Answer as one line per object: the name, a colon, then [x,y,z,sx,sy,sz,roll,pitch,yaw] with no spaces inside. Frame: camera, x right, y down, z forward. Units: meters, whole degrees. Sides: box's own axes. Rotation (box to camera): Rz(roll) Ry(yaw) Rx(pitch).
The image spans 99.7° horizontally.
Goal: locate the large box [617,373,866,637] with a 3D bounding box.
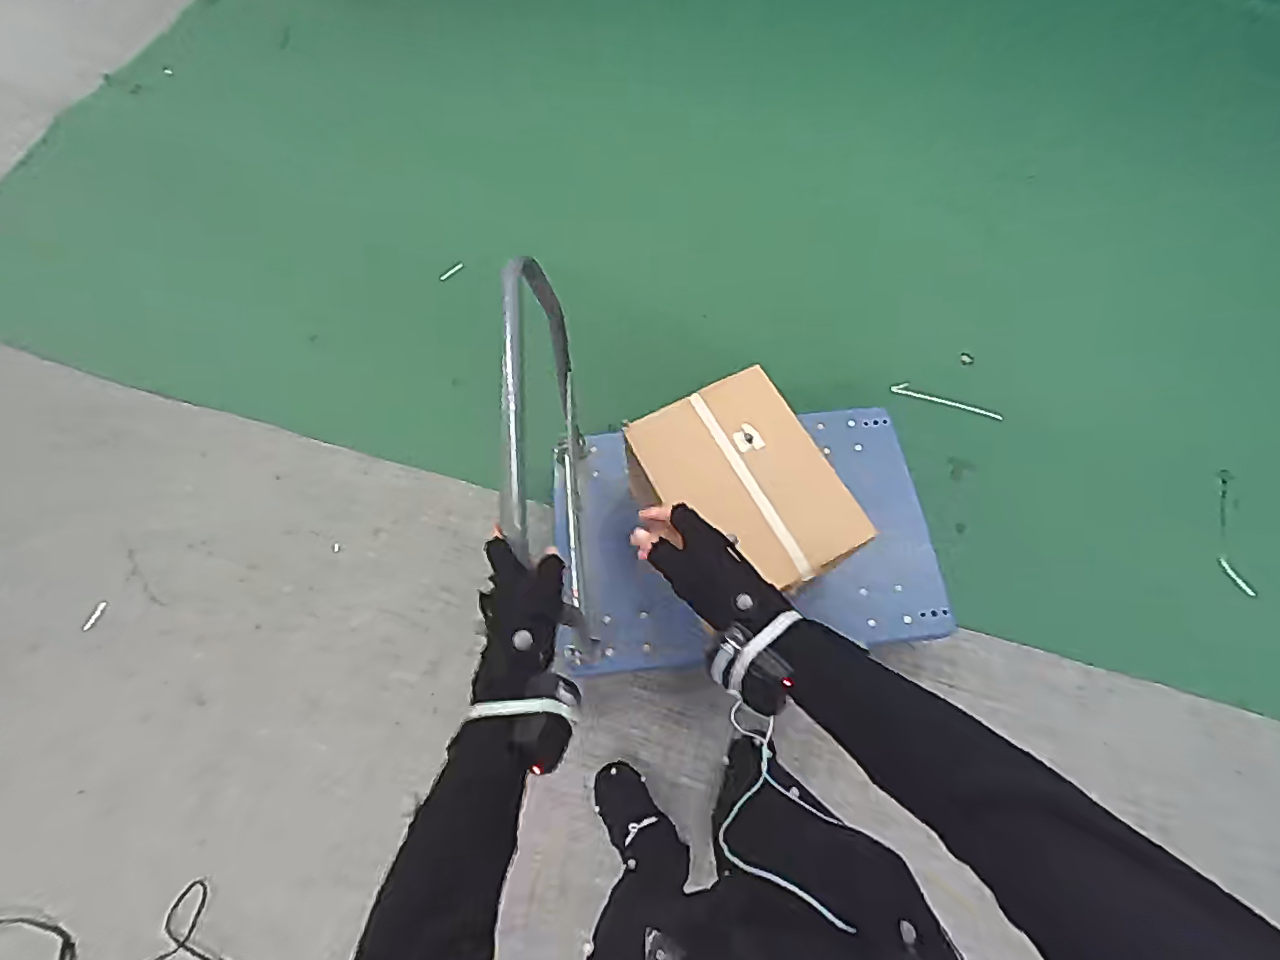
large box: [0.185,0.064,1.138,0.320,0.320,0.408,-25,68,-9]
